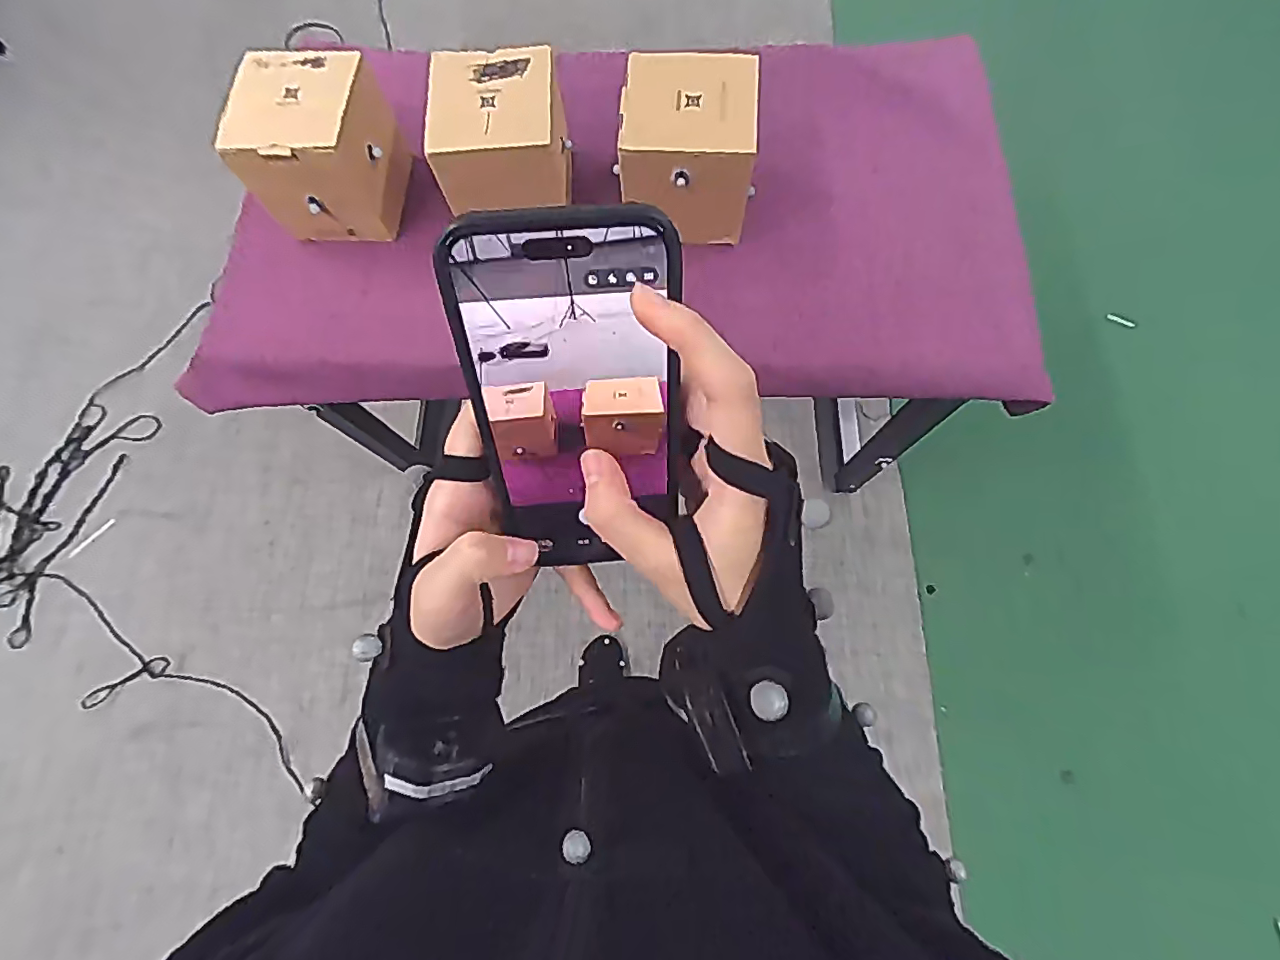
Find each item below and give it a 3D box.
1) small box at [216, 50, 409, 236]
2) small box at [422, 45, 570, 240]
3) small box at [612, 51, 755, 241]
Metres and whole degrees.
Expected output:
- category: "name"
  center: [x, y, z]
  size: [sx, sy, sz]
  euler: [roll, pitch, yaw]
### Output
- category: "small box"
  center: [-0.465, -0.486, 0.799]
  size: [0.168, 0.176, 0.179]
  euler: [2, 74, 3]
- category: "small box"
  center: [-0.197, -0.481, 0.787]
  size: [0.168, 0.176, 0.179]
  euler: [-3, 74, 2]
- category: "small box"
  center: [0.062, -0.467, 0.773]
  size: [0.179, 0.176, 0.168]
  euler: [4, 74, 4]
